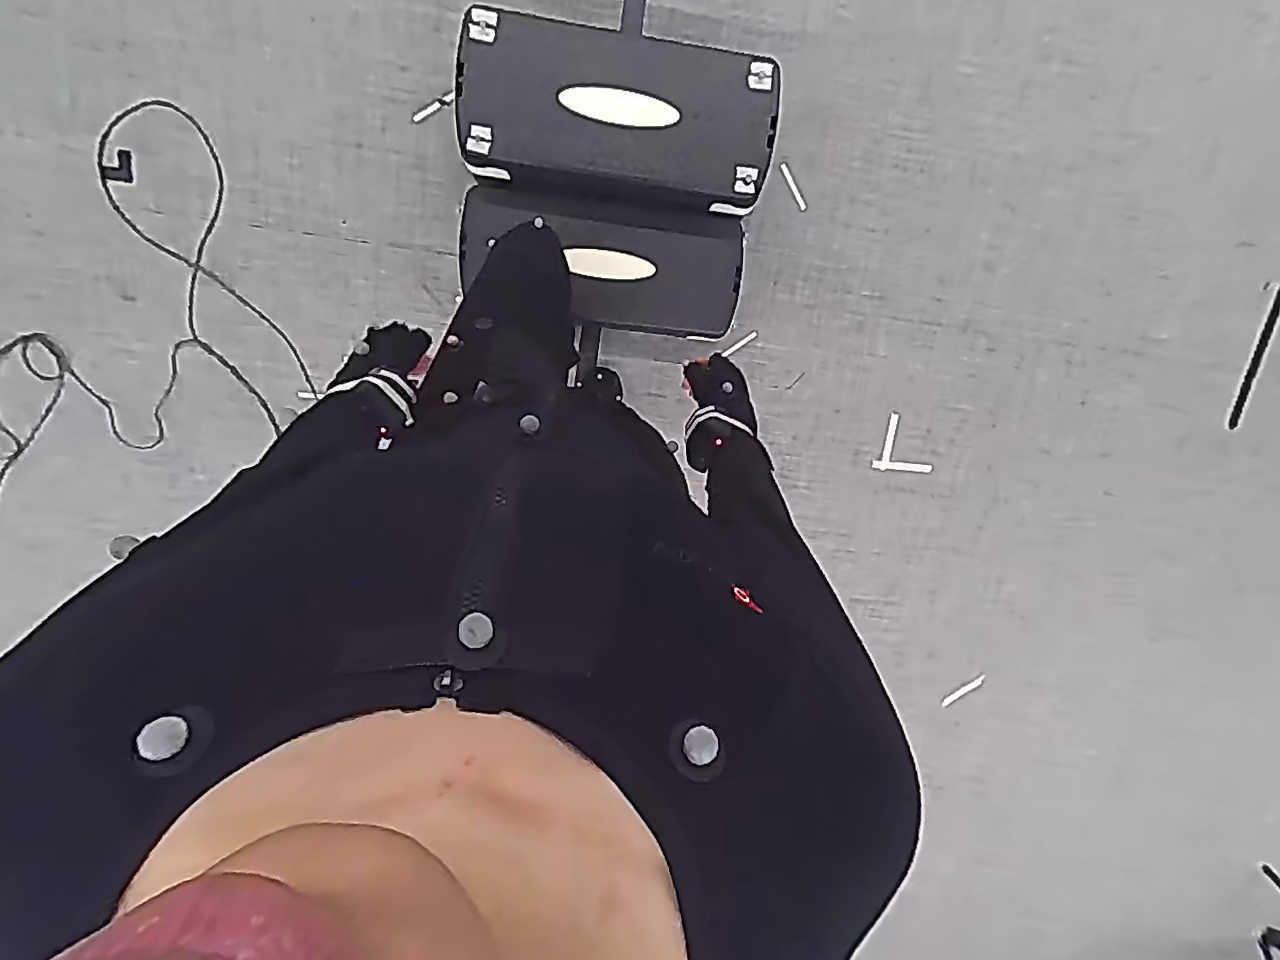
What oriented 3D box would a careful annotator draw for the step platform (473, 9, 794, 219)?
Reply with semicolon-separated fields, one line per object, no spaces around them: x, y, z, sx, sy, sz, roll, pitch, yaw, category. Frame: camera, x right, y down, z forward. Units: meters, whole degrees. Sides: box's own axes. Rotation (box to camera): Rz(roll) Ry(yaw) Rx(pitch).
-0.014;-0.790;1.201;0.684;0.204;0.286;5;104;-6;step platform
